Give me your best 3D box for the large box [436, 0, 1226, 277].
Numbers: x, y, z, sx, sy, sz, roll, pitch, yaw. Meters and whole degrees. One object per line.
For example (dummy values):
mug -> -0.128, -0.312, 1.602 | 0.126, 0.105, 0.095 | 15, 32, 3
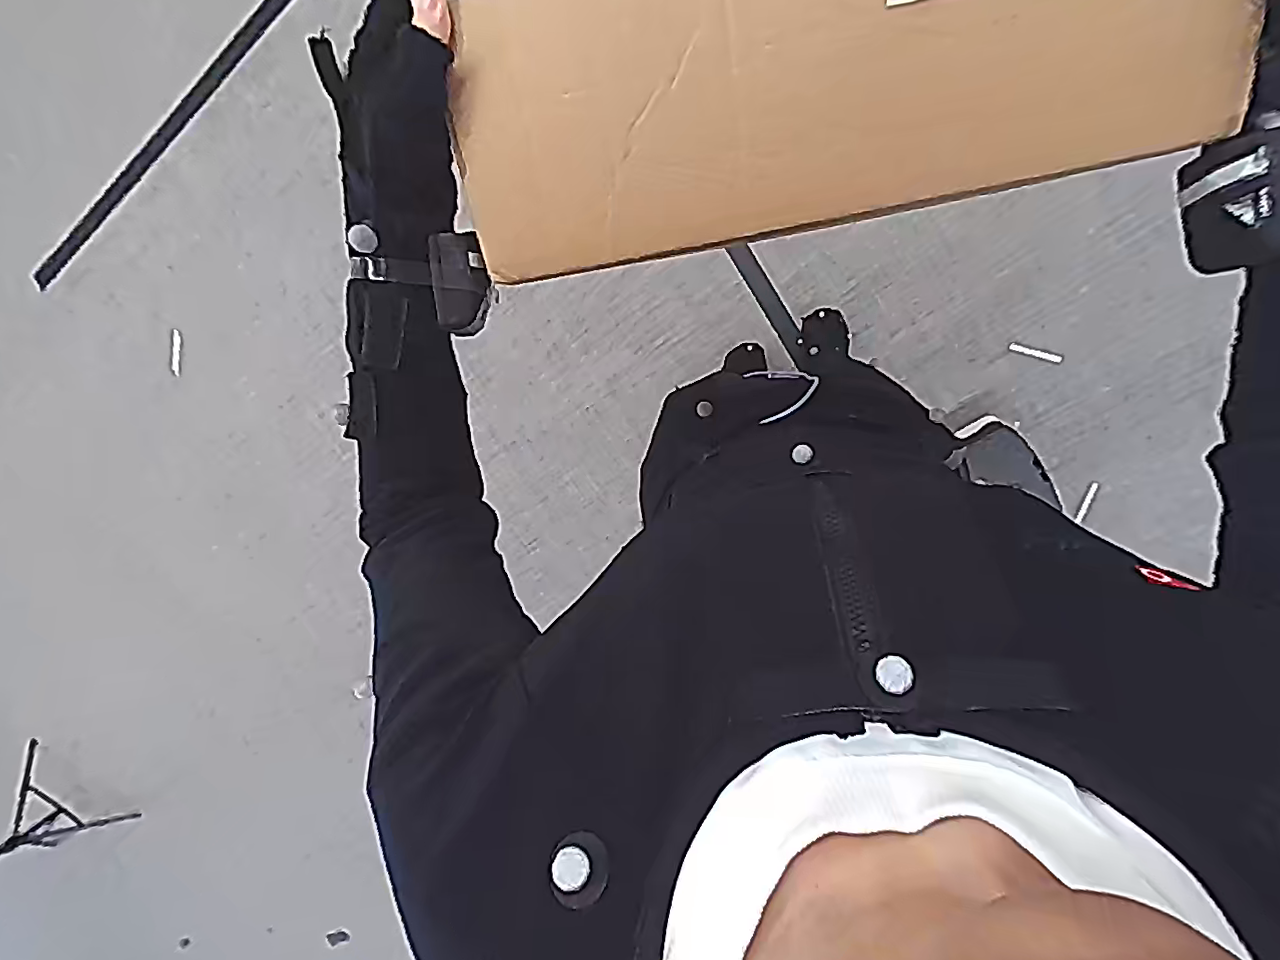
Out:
large box -> 0.093, -0.359, 0.404 | 0.408, 0.320, 0.320 | -8, 112, 11
